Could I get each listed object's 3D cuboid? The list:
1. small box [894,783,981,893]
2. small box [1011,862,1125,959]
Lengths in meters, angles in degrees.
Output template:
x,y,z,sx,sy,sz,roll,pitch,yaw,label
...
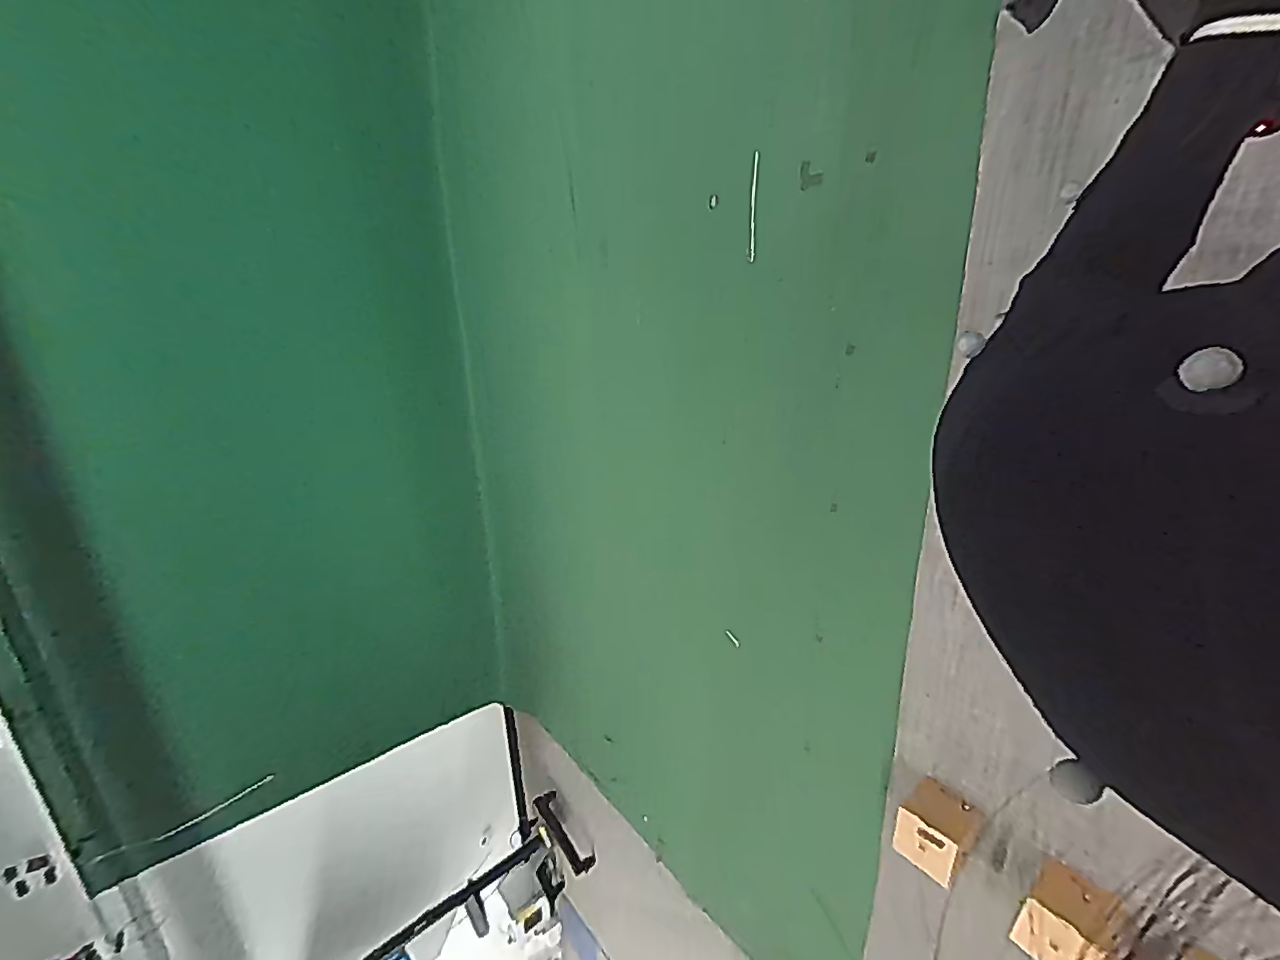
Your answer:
x,y,z,sx,sy,sz,roll,pitch,yaw,label
0.886,1.051,1.604,0.168,0.176,0.179,21,118,47,small box
1.089,1.138,1.374,0.168,0.176,0.179,27,122,45,small box
